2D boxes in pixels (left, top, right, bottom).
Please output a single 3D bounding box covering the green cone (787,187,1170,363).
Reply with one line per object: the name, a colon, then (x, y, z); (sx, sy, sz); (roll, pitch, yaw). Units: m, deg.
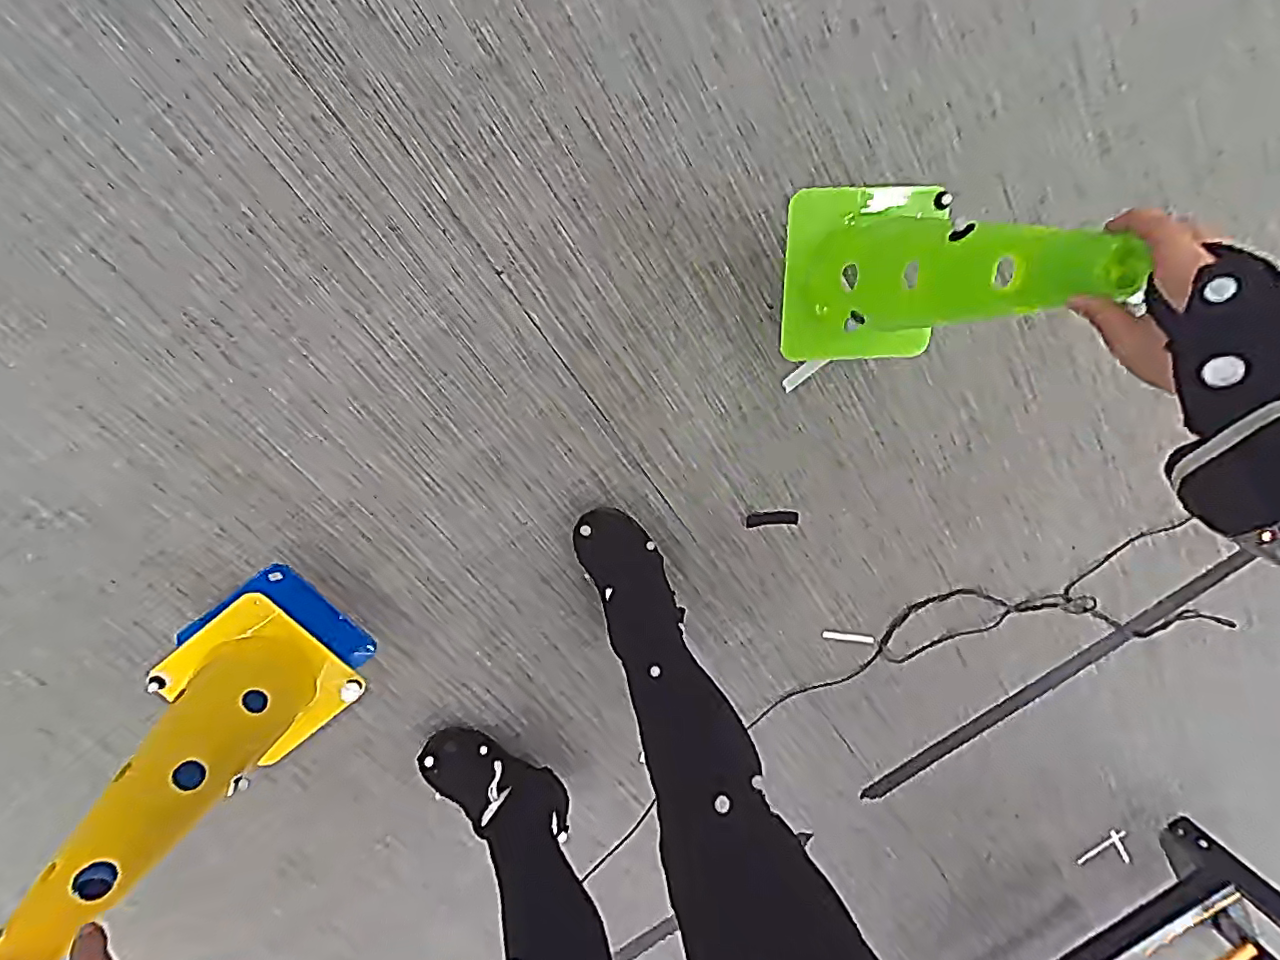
green cone: (0.298, -0.189, 0.508); (0.200, 0.368, 0.202); (-4, 111, -4)
